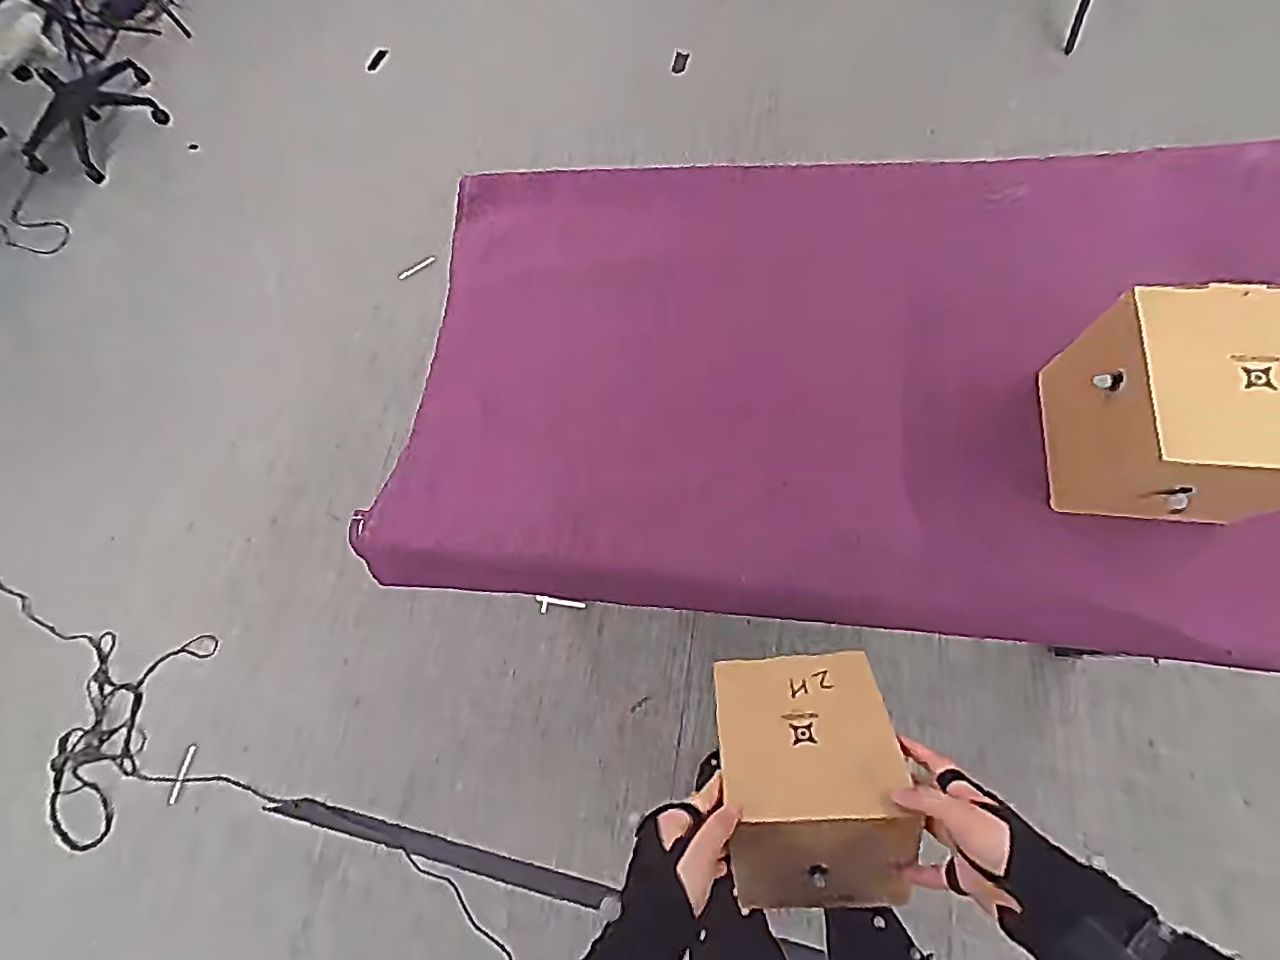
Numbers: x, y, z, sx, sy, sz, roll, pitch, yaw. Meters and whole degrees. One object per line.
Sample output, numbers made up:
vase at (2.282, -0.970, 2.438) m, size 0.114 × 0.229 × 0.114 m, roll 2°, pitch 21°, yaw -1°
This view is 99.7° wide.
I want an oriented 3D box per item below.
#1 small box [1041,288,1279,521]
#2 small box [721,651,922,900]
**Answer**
small box at (0.534, -0.065, 0.535) m, size 0.168 × 0.176 × 0.179 m, roll 4°, pitch 72°, yaw 11°
small box at (0.179, 0.310, 0.573) m, size 0.168 × 0.176 × 0.179 m, roll -6°, pitch 29°, yaw 8°
